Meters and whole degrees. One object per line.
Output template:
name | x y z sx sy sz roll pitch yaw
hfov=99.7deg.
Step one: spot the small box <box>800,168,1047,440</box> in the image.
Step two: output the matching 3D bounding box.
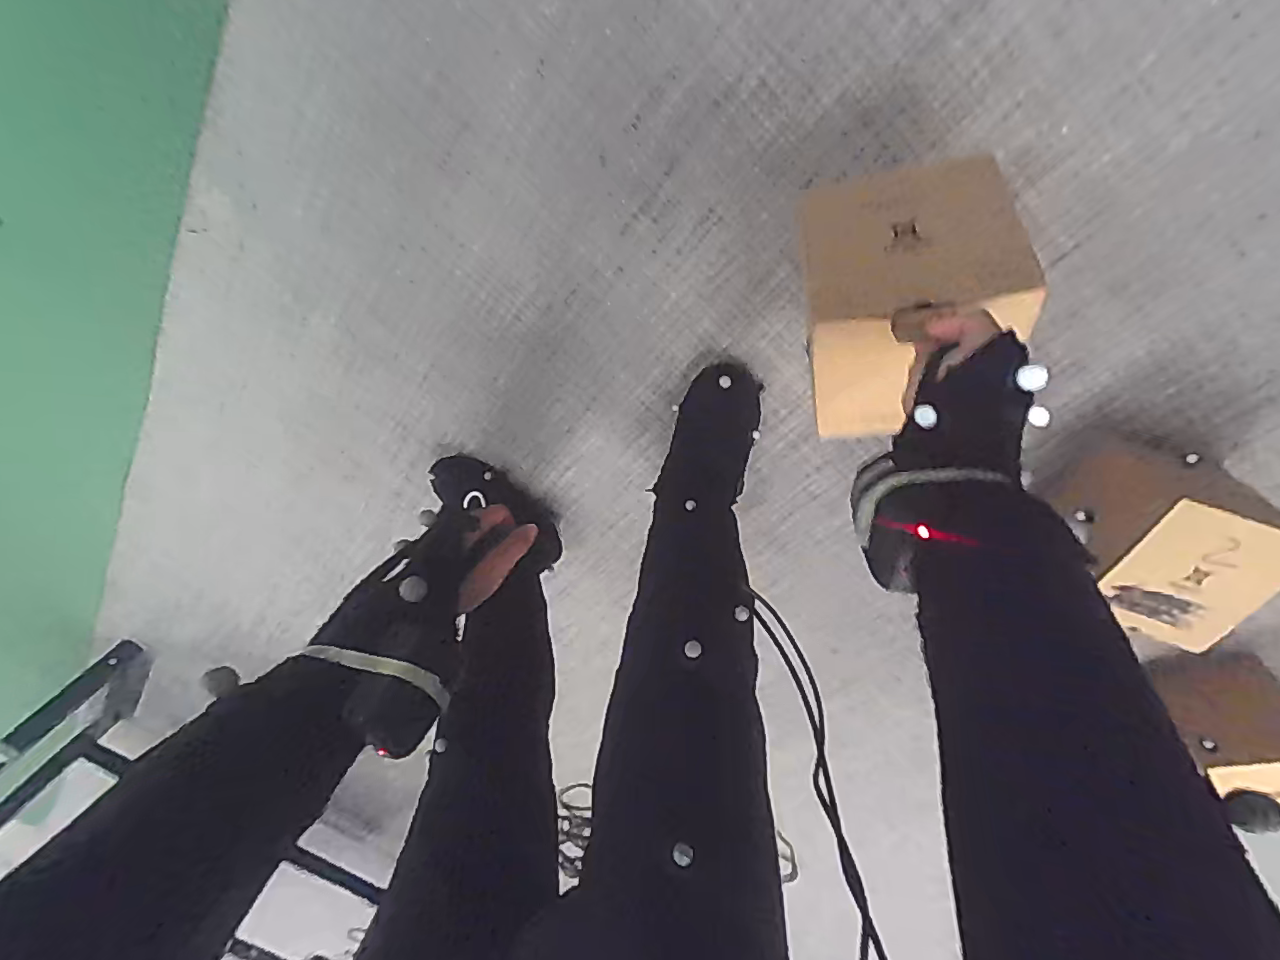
small box | 0.247 -0.151 0.514 0.168 0.179 0.176 -5 146 18
